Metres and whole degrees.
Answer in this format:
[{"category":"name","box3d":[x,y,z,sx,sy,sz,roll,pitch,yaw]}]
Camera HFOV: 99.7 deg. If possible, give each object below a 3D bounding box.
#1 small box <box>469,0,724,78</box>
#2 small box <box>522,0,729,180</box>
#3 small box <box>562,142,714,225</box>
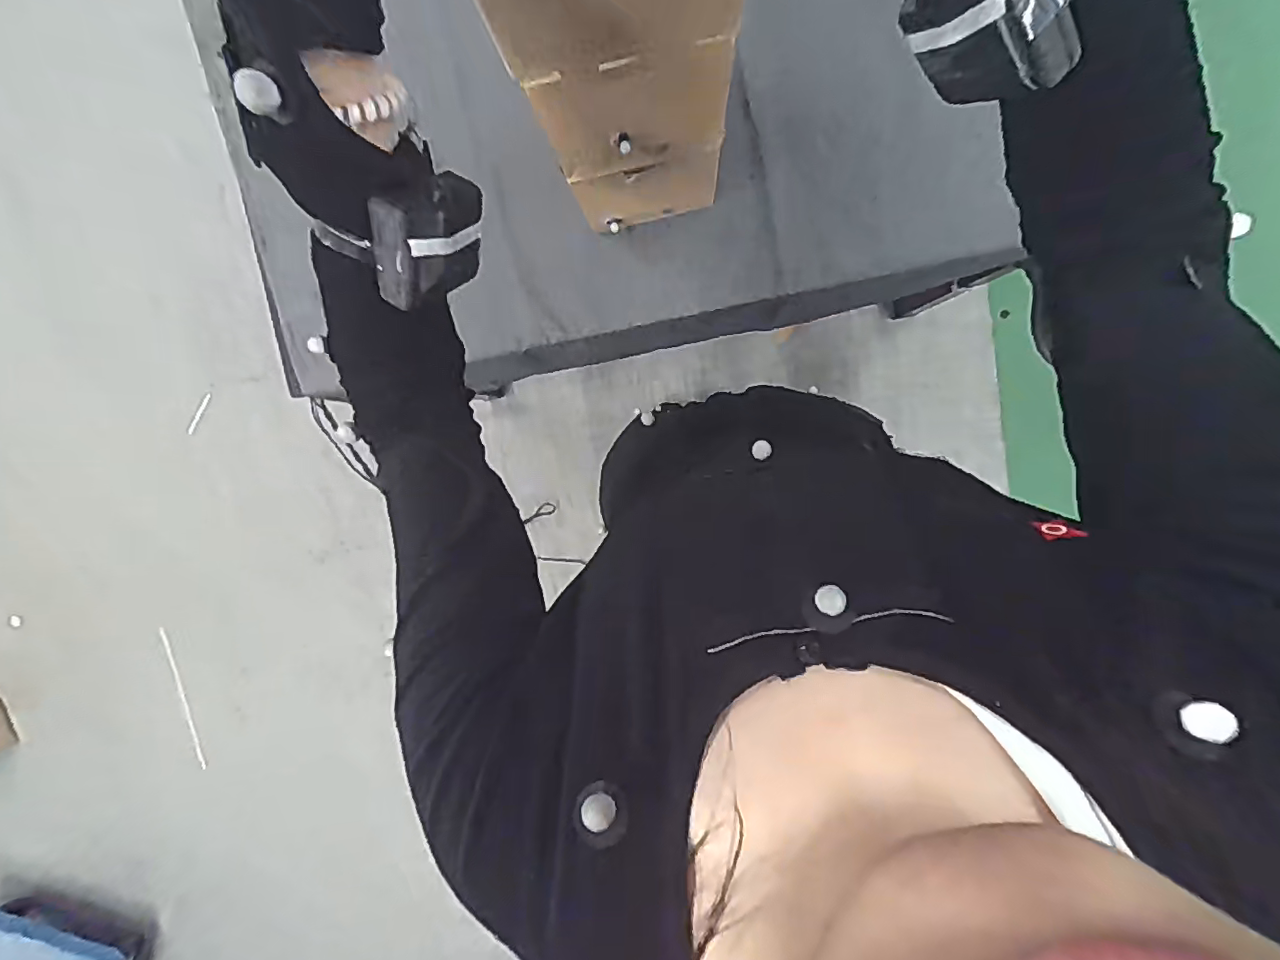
[{"category":"small box","box3d":[-0.034,-0.388,0.323,0.179,0.176,0.168,-9,95,5]},{"category":"small box","box3d":[-0.021,-0.410,0.486,0.168,0.176,0.179,-10,95,6]},{"category":"small box","box3d":[-0.007,-0.427,0.646,0.168,0.176,0.179,-11,94,6]}]
